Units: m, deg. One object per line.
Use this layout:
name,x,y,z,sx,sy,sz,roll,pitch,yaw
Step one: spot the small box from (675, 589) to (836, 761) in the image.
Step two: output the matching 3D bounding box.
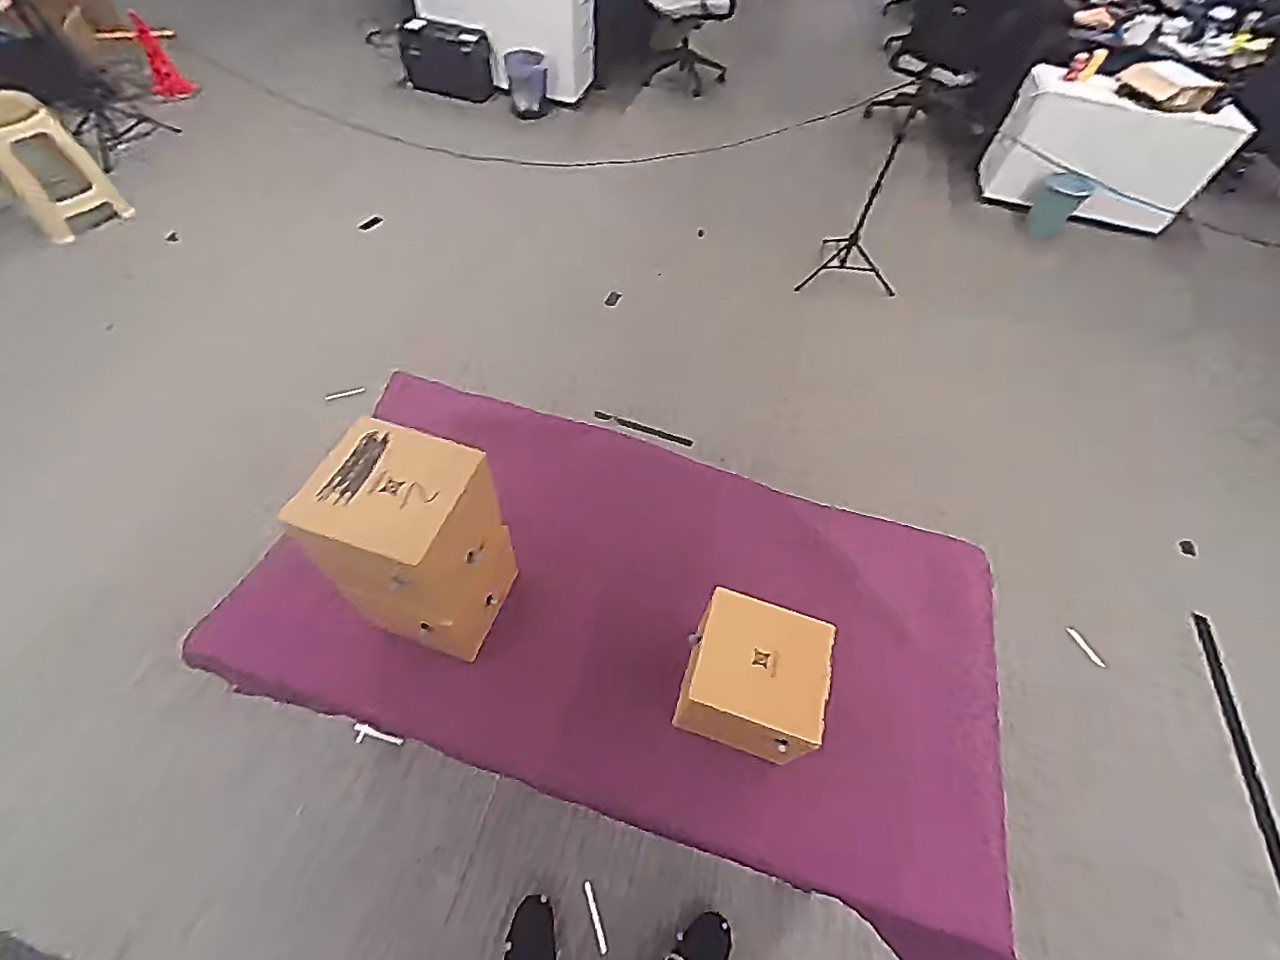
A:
small box,0.160,0.287,0.783,0.179,0.176,0.168,18,56,6

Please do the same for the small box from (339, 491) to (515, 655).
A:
small box,-0.306,0.149,0.827,0.179,0.176,0.168,19,56,7
